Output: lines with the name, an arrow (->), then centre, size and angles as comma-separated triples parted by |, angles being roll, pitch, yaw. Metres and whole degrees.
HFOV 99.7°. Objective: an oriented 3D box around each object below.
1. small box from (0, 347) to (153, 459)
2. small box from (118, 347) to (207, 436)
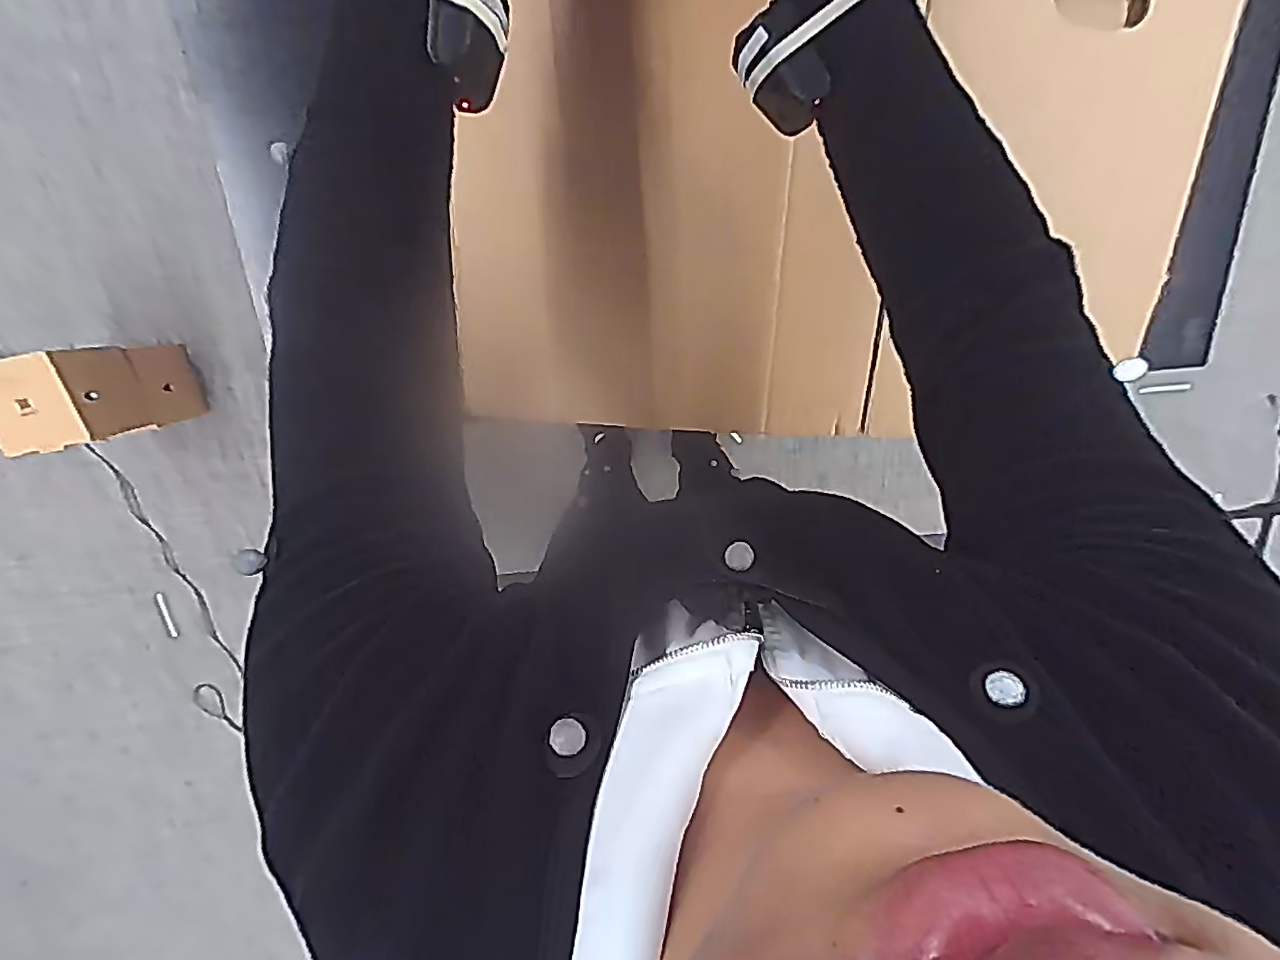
small box -> -1.139, -0.159, 1.076 | 0.168, 0.176, 0.179 | -12, 108, -2
small box -> -1.151, -0.204, 1.232 | 0.168, 0.176, 0.179 | -9, 109, -2
